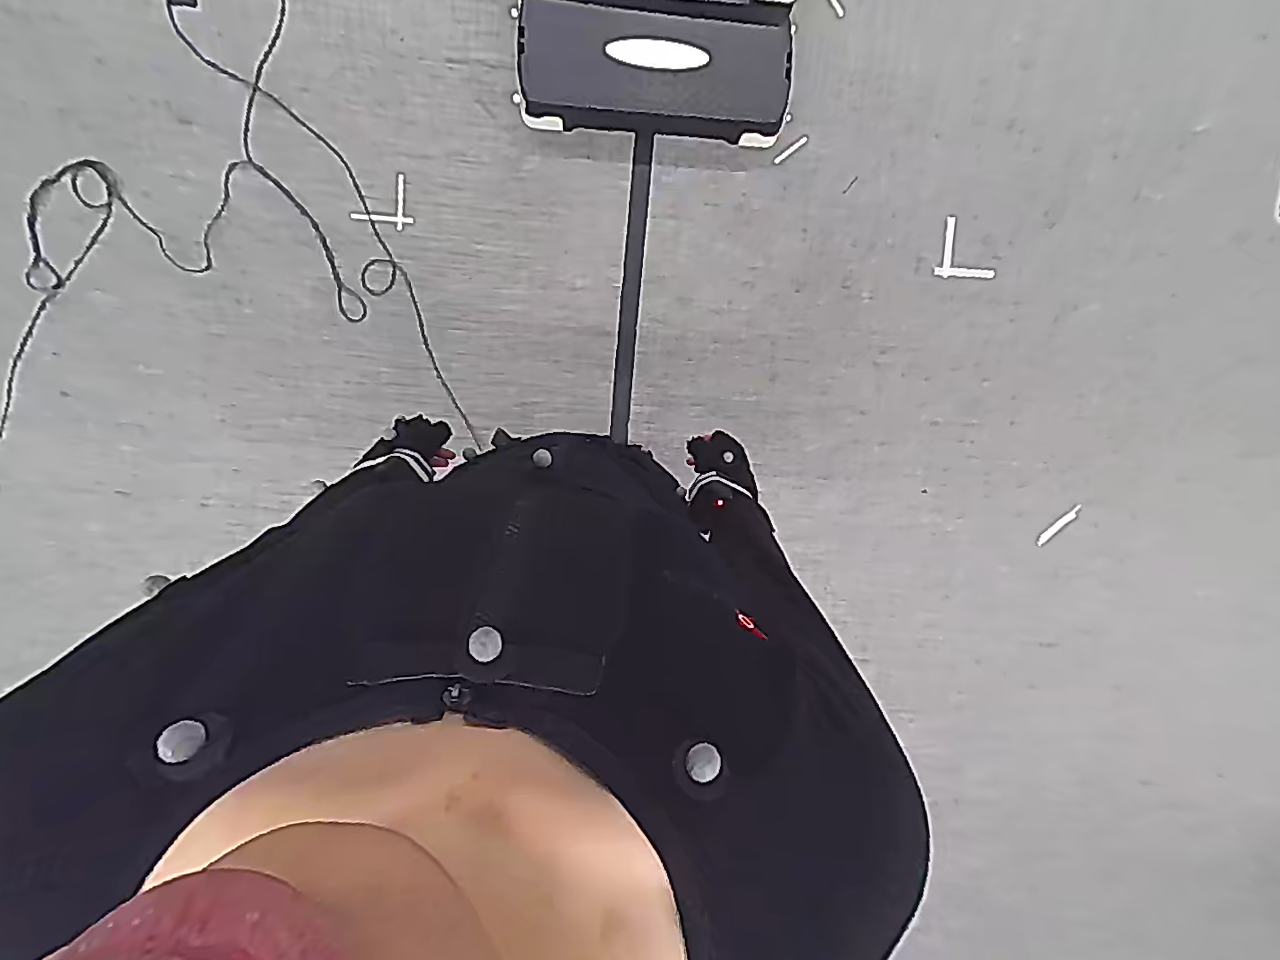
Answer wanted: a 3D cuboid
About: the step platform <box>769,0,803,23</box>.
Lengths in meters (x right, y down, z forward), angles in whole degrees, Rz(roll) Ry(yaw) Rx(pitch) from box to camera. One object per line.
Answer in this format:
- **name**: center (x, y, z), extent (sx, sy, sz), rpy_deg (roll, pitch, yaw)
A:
- **step platform**: center (0.096, -1.317, 1.262), extent (0.684, 0.204, 0.286), rpy_deg (2, 96, -6)
